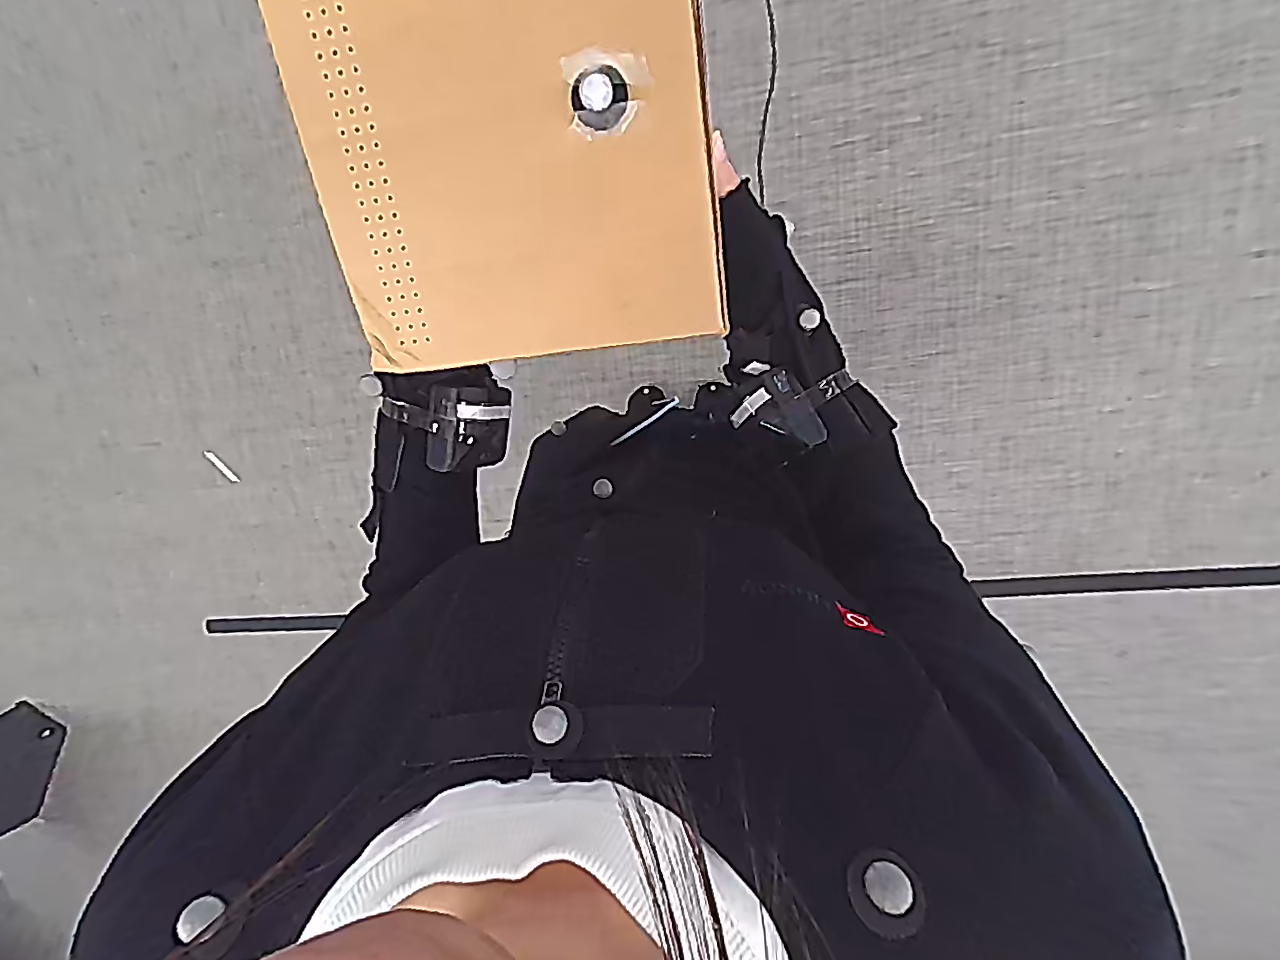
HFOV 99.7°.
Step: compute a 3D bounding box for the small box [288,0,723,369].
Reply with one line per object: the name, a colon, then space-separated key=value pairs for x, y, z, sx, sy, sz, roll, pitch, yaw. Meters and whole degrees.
small box: x=-0.050 y=-0.169 z=0.298 sx=0.176 sy=0.168 sz=0.179 roll=-5 pitch=111 yaw=9
